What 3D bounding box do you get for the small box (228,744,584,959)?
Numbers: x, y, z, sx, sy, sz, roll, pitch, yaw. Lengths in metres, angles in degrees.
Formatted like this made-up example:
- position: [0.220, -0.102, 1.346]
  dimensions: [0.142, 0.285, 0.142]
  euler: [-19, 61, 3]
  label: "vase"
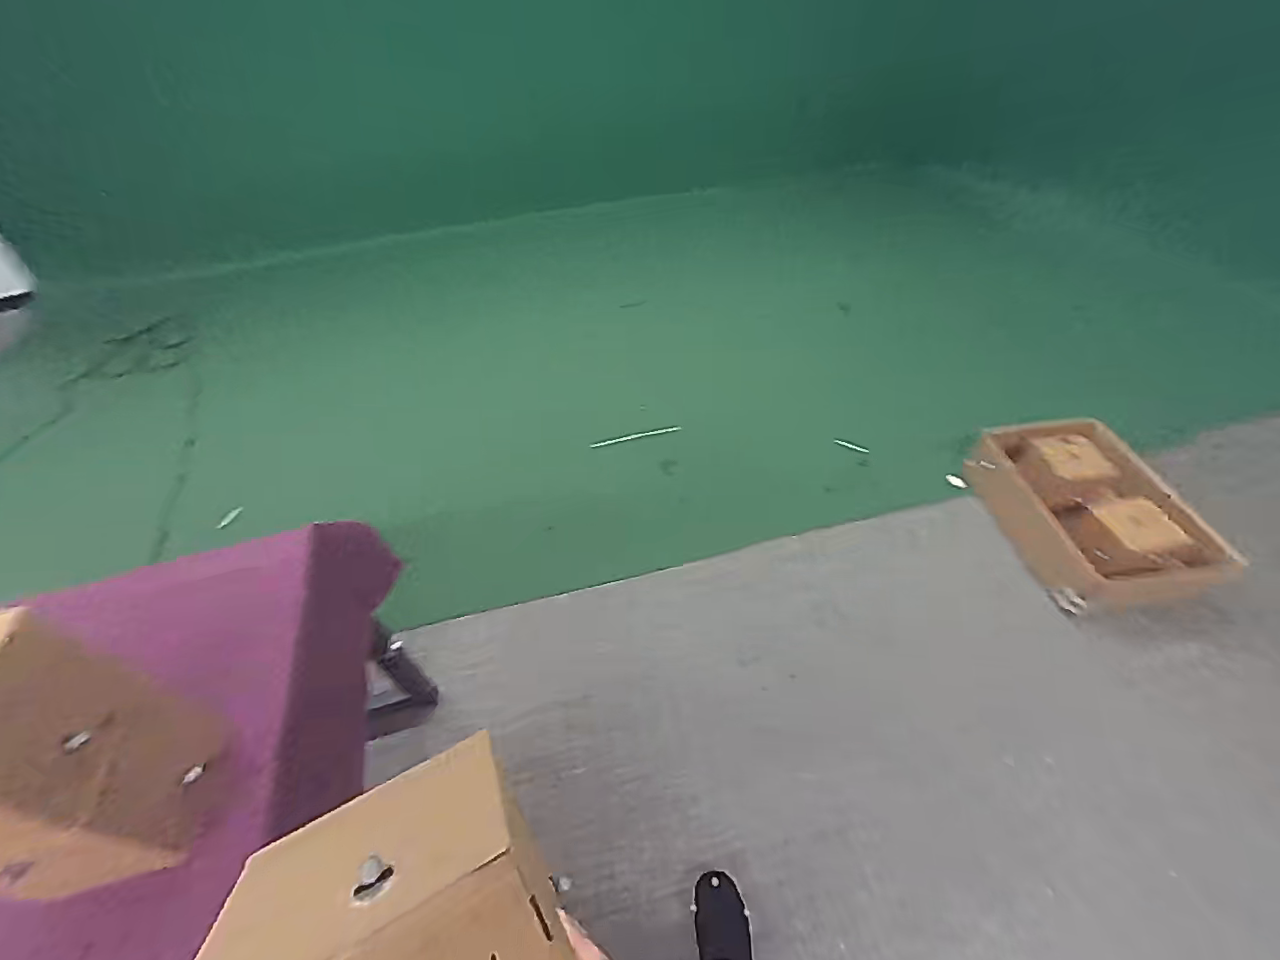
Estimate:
- position: [-0.135, 0.306, 0.339]
  dimensions: [0.179, 0.168, 0.176]
  euler: [-23, 5, -18]
  label: "small box"
